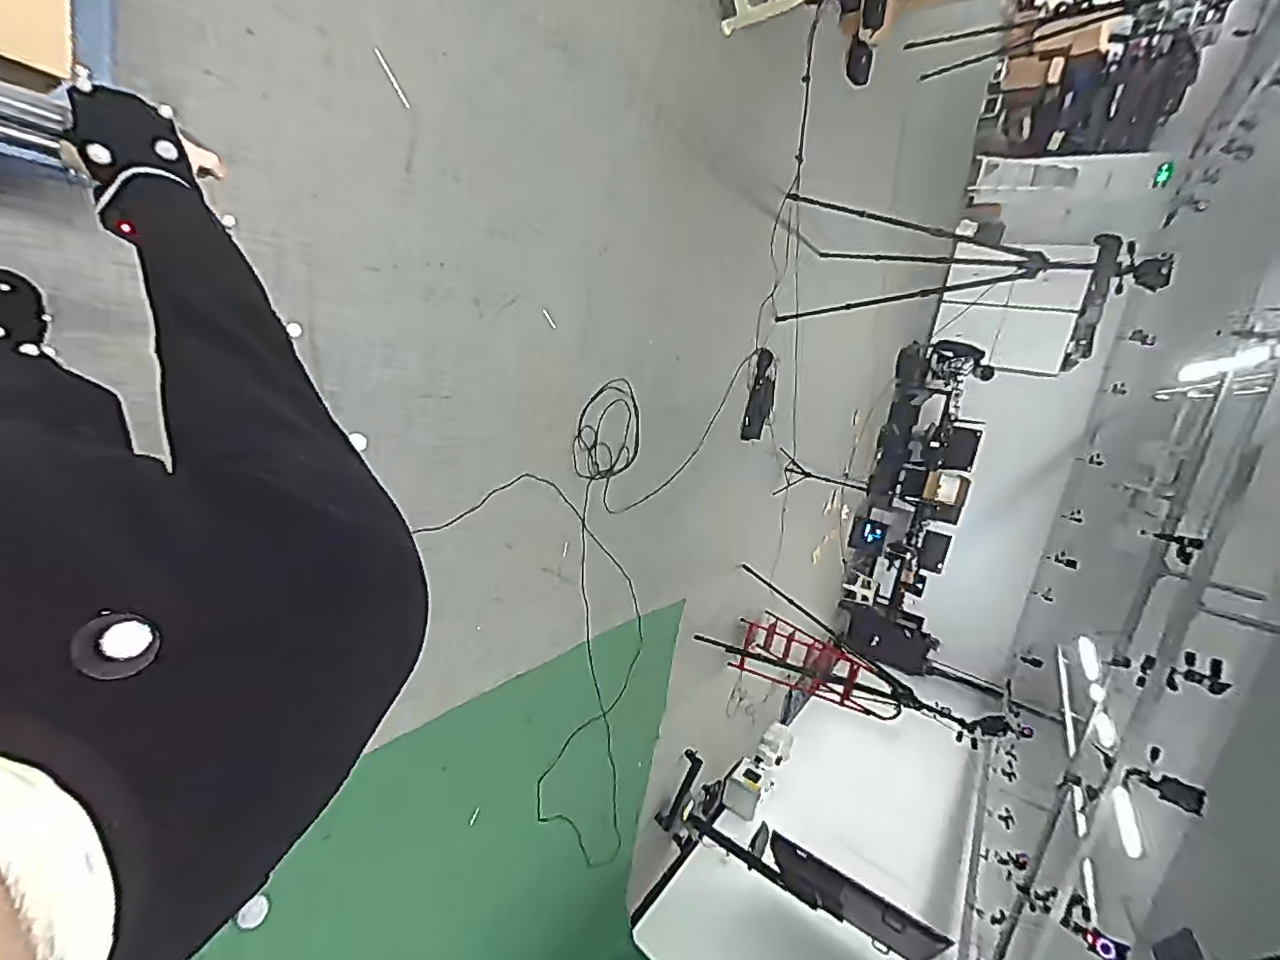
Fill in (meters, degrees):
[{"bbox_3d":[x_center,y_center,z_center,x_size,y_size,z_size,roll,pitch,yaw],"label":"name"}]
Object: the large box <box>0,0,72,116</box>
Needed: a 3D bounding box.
[{"bbox_3d":[-0.969,-0.753,0.667,0.320,0.320,0.408,-8,109,-55],"label":"large box"}]
